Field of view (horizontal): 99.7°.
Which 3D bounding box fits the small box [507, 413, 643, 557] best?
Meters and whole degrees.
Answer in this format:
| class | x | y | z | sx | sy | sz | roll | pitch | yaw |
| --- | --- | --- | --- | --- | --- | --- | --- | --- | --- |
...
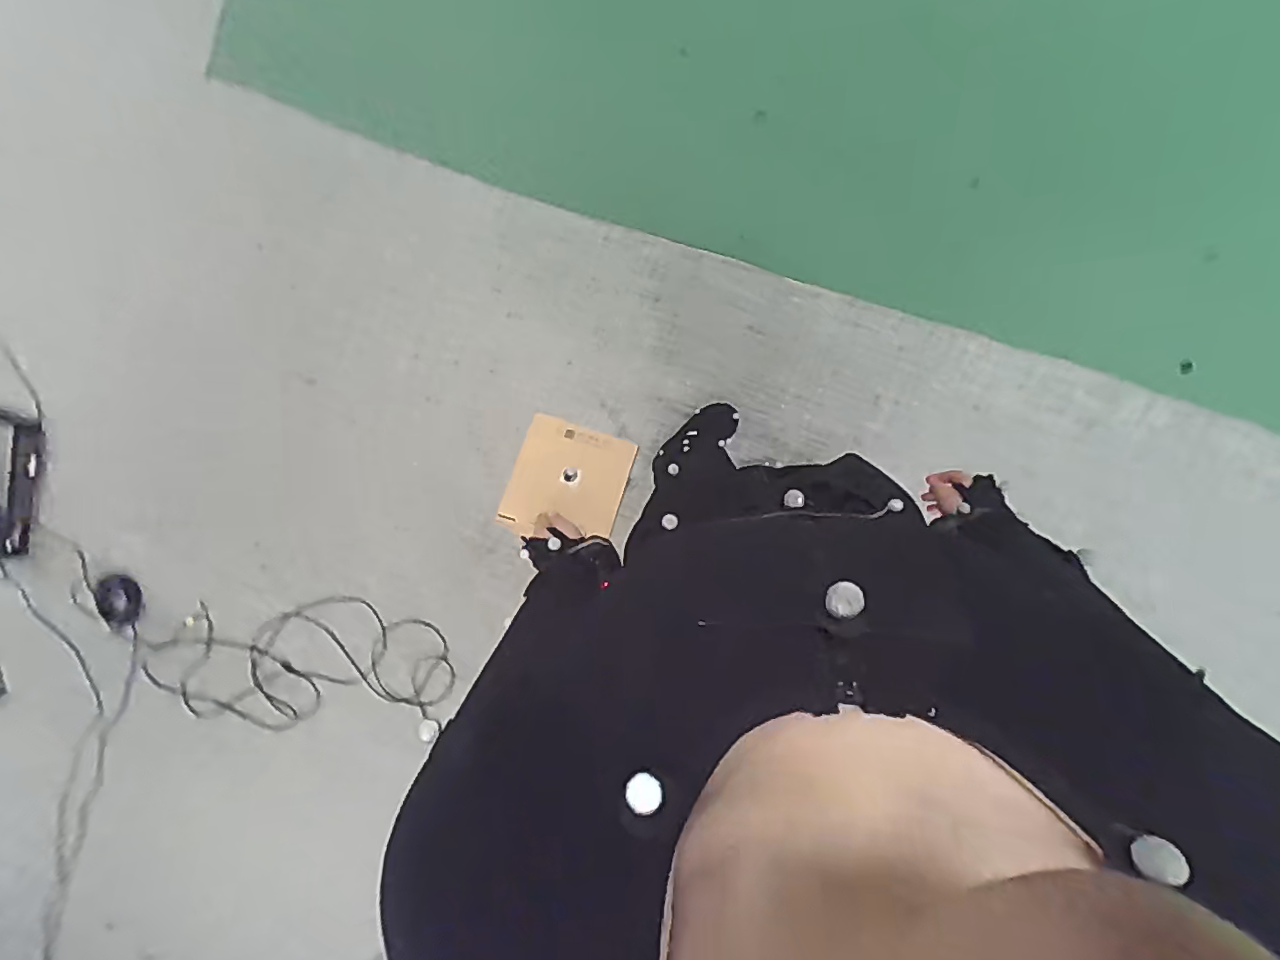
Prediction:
| class | x | y | z | sx | sy | sz | roll | pitch | yaw |
| --- | --- | --- | --- | --- | --- | --- | --- | --- | --- |
| small box | -0.100 | 0.011 | 0.871 | 0.168 | 0.179 | 0.176 | 18 | 74 | -1 |
